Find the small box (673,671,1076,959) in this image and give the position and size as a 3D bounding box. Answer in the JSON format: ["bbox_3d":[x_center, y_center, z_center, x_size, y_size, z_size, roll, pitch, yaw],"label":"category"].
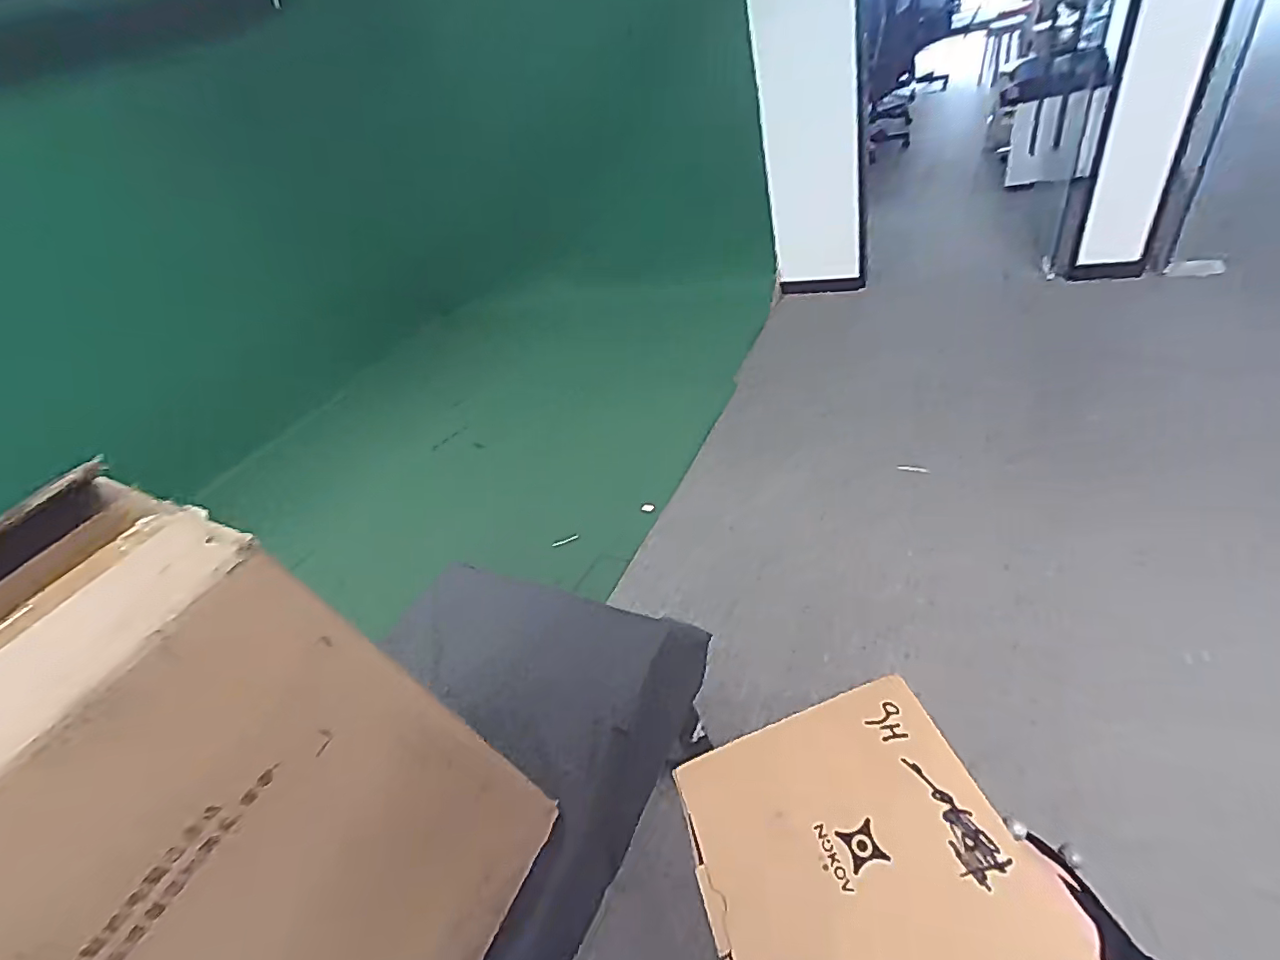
[{"bbox_3d":[0.145,0.273,0.380,0.179,0.176,0.168,-23,42,1],"label":"small box"}]
